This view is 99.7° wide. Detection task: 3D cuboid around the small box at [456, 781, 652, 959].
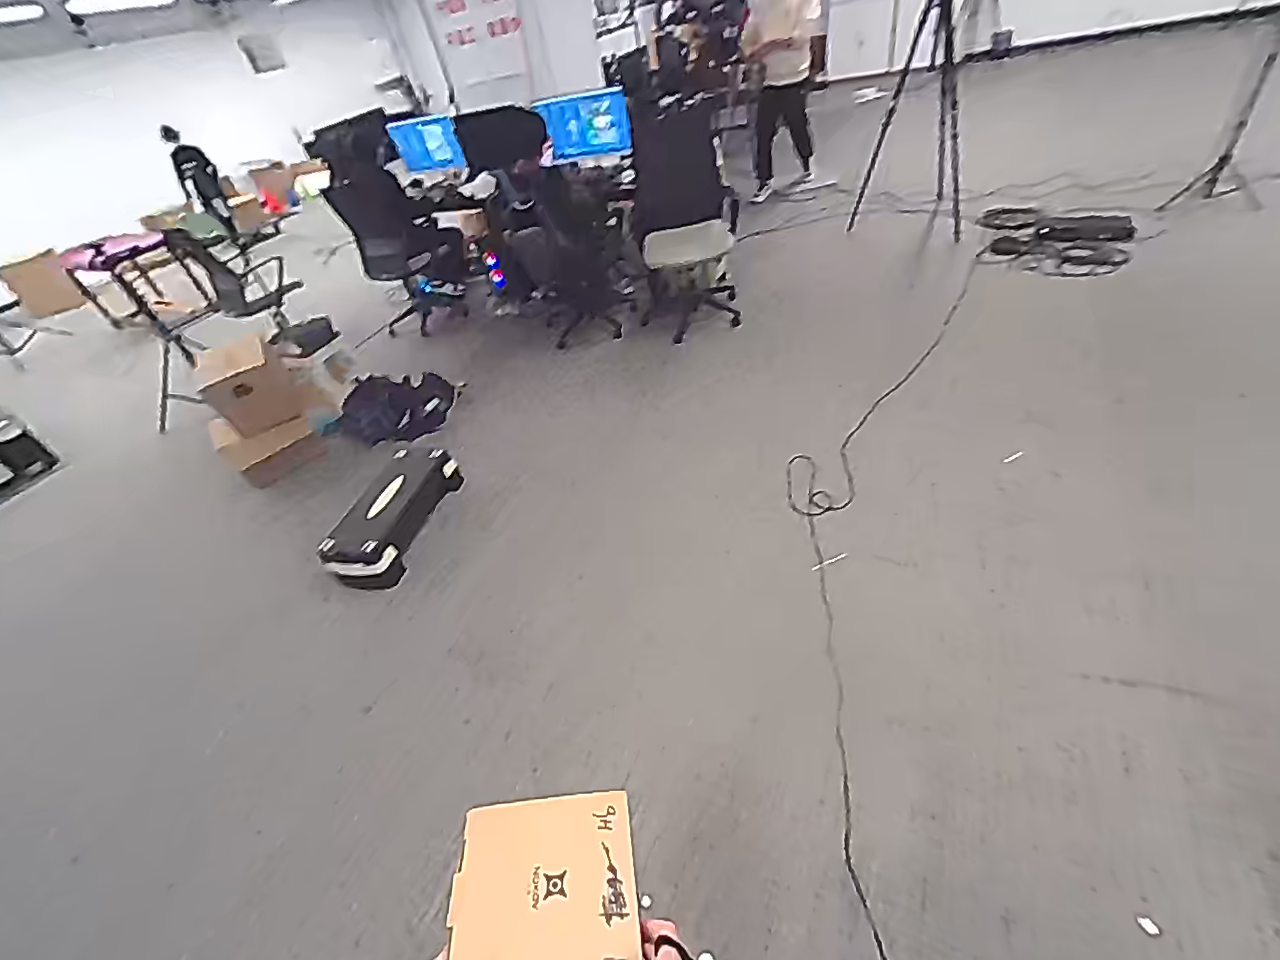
[{"bbox_3d":[-0.080,0.453,0.572,0.179,0.176,0.168,-4,33,-5],"label":"small box"}]
